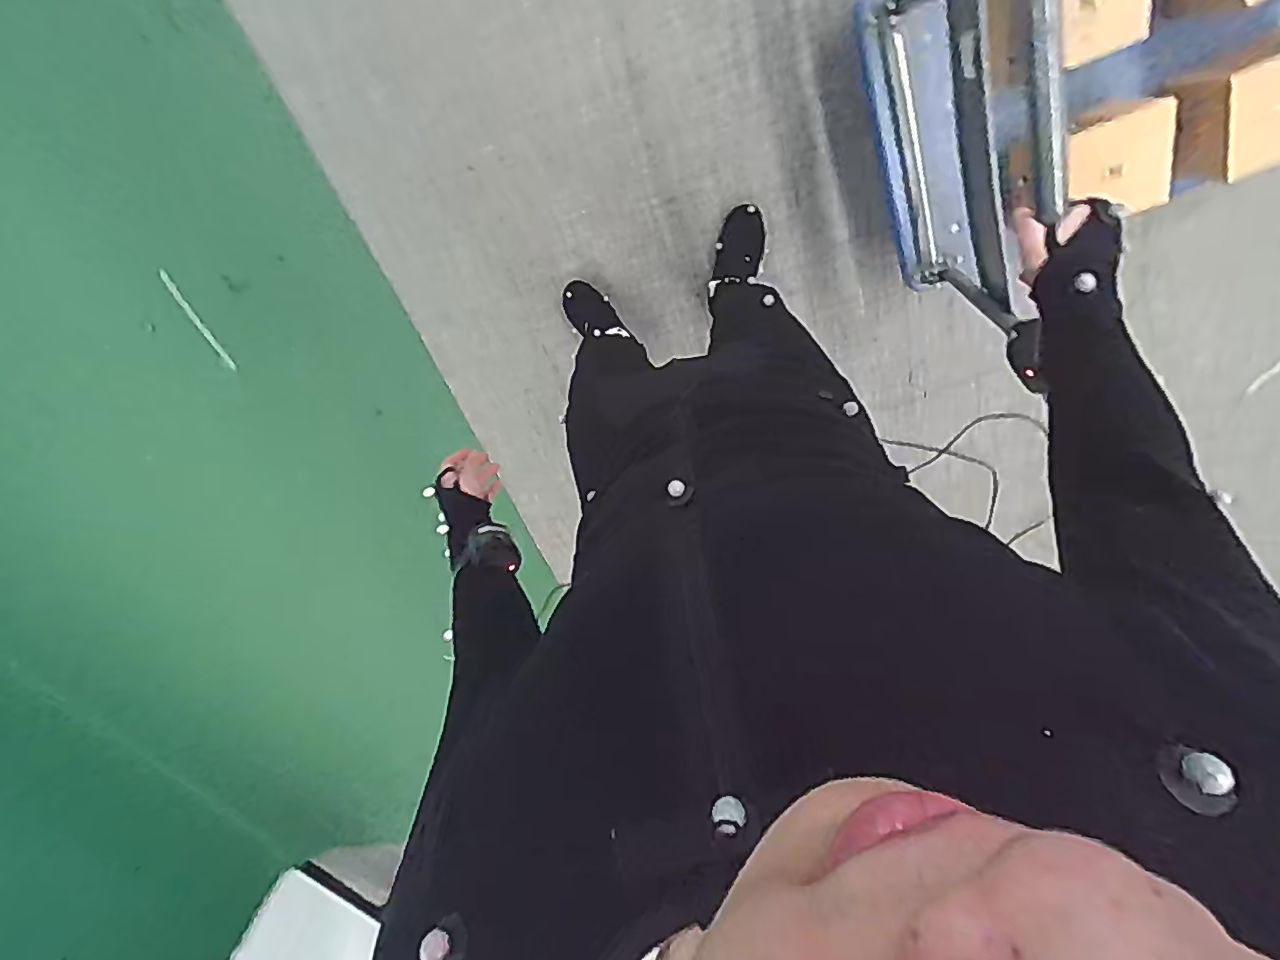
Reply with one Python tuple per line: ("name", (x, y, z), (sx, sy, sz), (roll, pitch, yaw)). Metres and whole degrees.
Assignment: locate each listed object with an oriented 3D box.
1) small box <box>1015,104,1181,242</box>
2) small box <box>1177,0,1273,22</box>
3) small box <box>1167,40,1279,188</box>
("small box", (0.834, -0.570, 1.003), (0.179, 0.176, 0.168), (-15, 120, 18))
("small box", (0.959, -0.833, 0.808), (0.179, 0.176, 0.168), (-21, 119, 20))
("small box", (1.063, -0.632, 0.927), (0.179, 0.176, 0.168), (-18, 118, 20))
